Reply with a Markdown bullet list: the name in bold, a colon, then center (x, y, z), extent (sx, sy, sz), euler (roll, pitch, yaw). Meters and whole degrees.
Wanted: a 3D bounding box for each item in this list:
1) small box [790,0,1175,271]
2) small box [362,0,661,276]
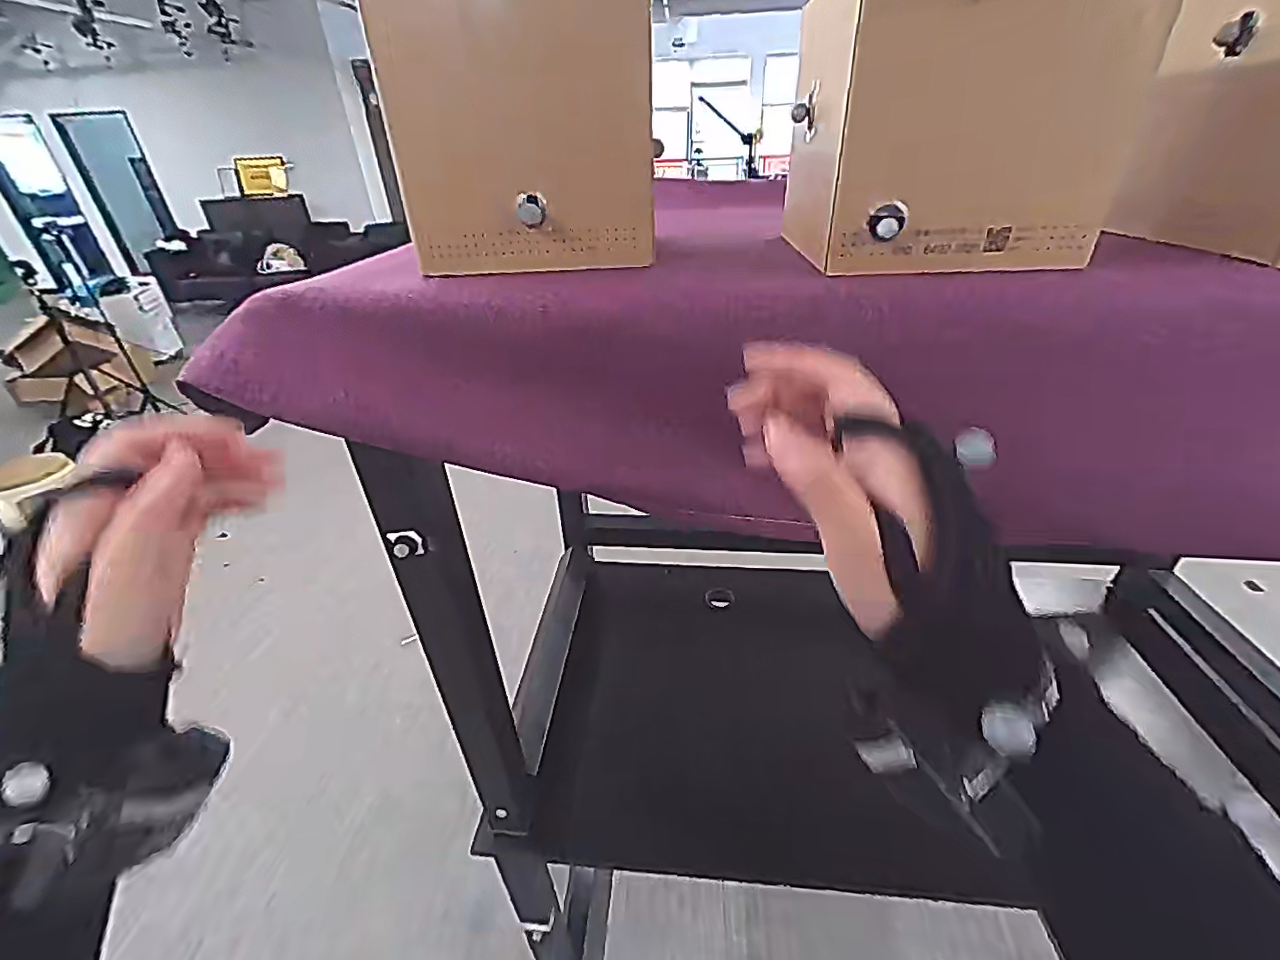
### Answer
- **small box**: center (0.207, -0.246, 0.374), extent (0.168, 0.176, 0.179), euler (0, 31, 4)
- **small box**: center (-0.080, -0.262, 0.419), extent (0.179, 0.176, 0.168), euler (-3, 32, -3)
